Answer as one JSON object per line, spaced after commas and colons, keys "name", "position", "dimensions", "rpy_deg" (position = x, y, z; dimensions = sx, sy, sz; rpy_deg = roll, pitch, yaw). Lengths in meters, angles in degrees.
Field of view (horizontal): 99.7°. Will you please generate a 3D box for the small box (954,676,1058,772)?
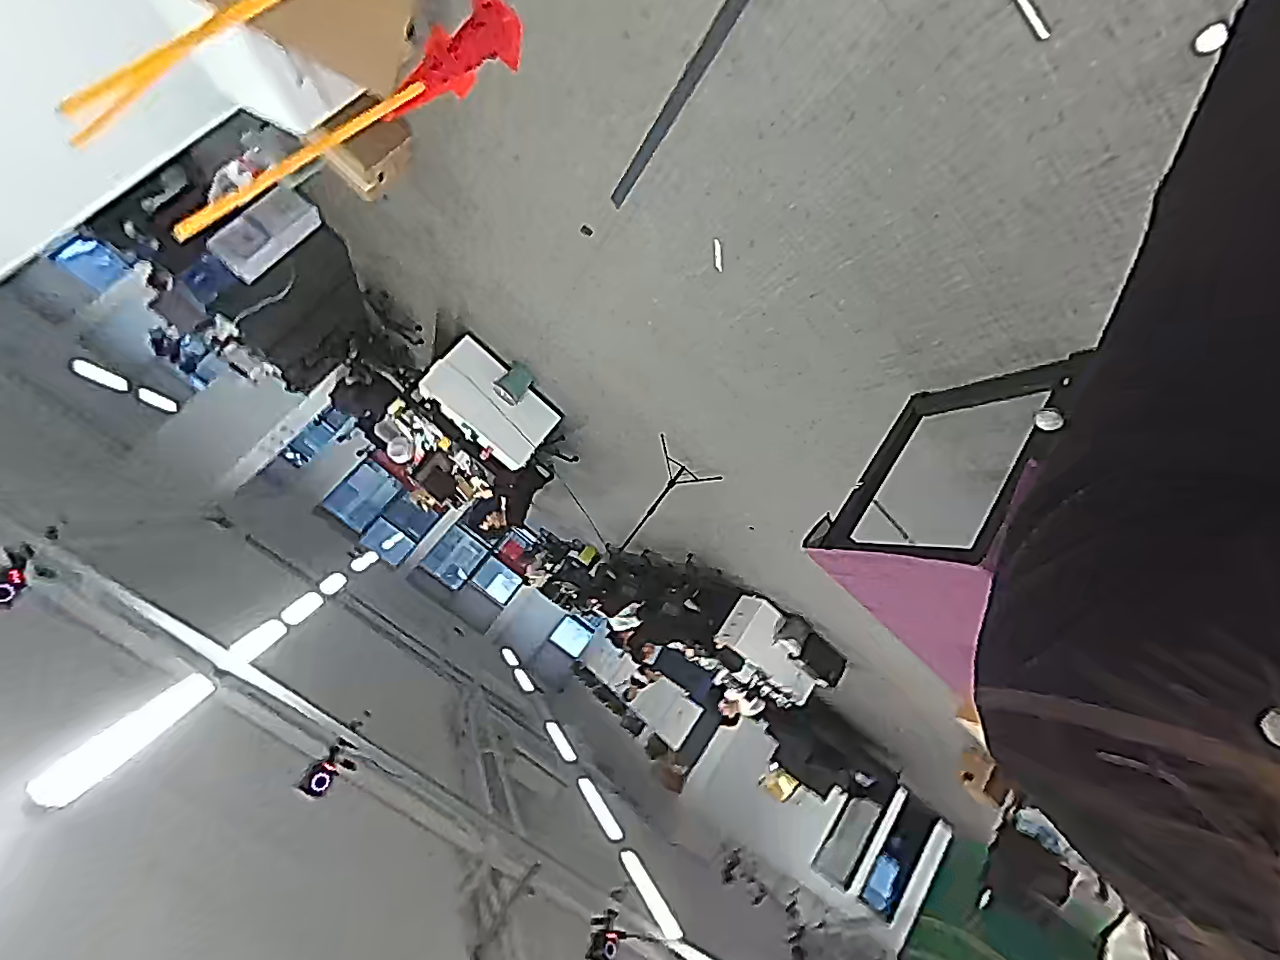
{"name": "small box", "position": [1.066, 0.696, 1.567], "dimensions": [0.168, 0.176, 0.179], "rpy_deg": [42, 163, -12]}
